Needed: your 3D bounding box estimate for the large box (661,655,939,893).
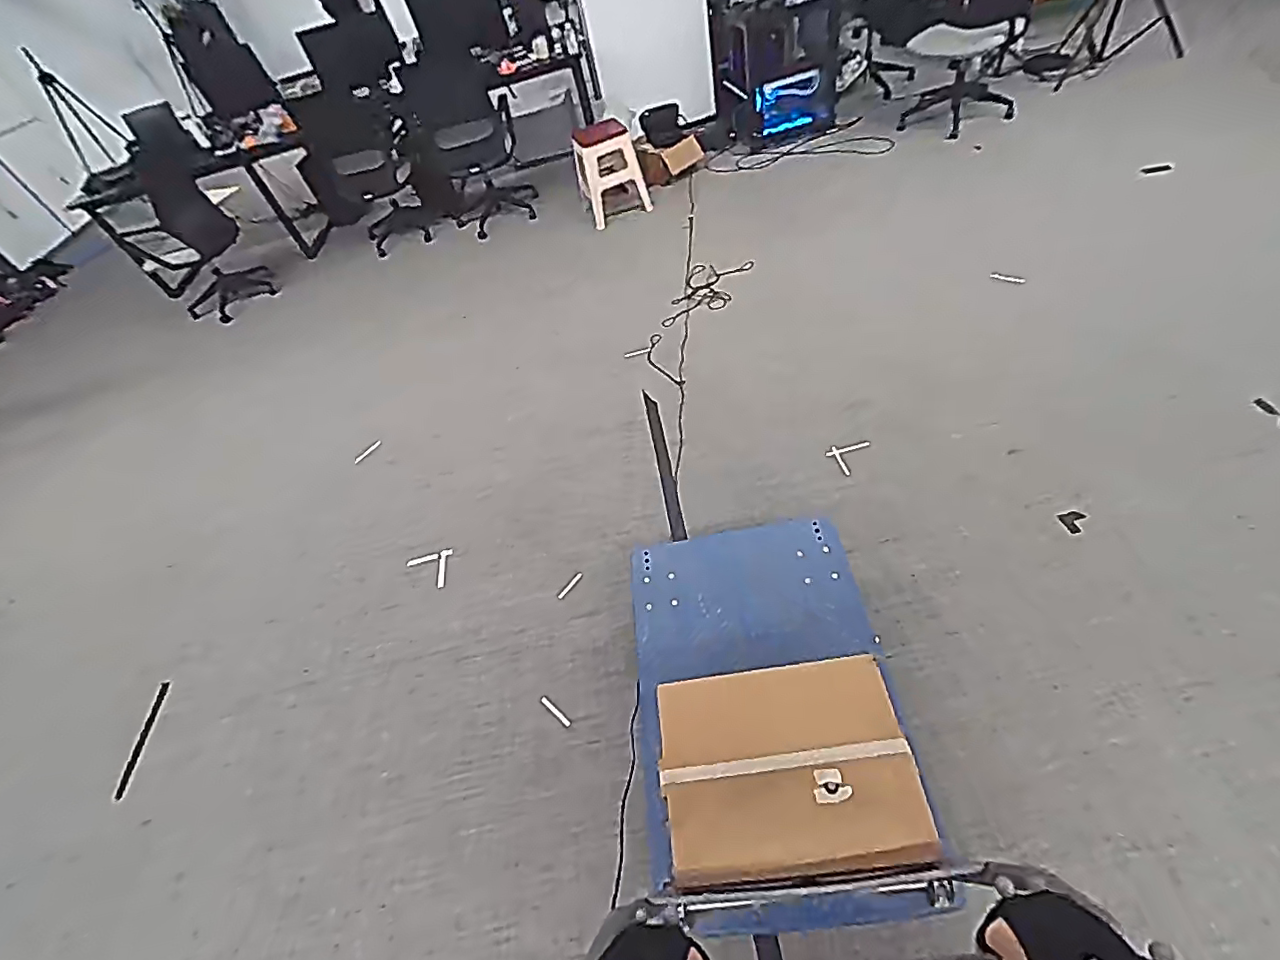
[{"bbox_3d":[0.273,0.571,1.036,0.408,0.320,0.320,-10,51,6],"label":"large box"}]
